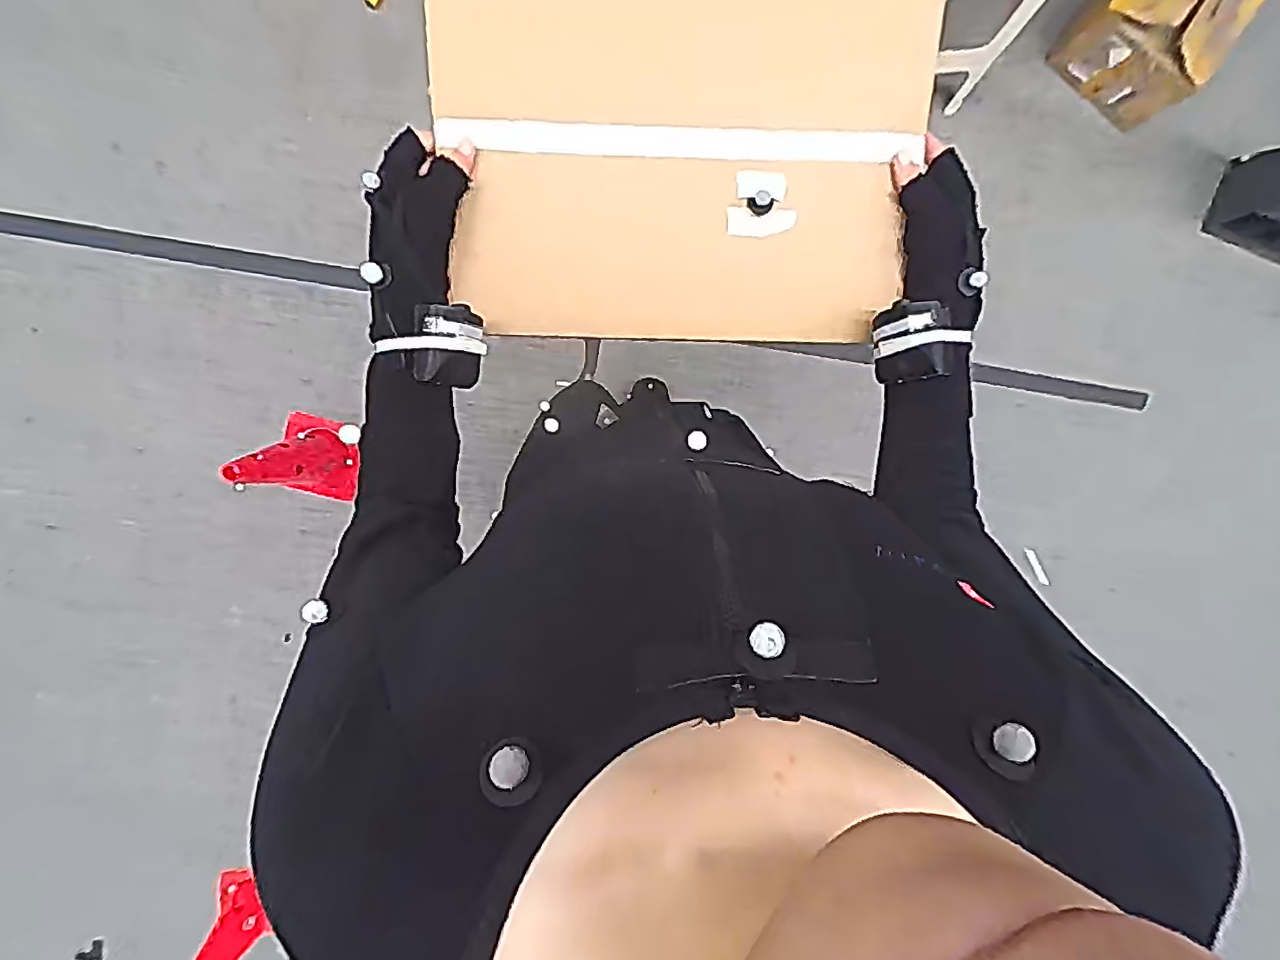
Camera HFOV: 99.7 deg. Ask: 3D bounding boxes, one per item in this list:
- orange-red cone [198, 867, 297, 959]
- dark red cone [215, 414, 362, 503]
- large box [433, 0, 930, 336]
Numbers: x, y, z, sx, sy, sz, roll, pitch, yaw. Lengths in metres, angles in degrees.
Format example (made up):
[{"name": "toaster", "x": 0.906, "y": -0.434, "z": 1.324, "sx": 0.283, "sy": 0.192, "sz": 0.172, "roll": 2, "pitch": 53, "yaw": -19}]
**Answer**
[{"name": "orange-red cone", "x": -1.073, "y": 1.227, "z": 1.377, "sx": 0.198, "sy": 0.360, "sz": 0.199, "roll": 6, "pitch": 98, "yaw": -4}, {"name": "dark red cone", "x": -0.804, "y": -0.035, "z": 1.211, "sx": 0.201, "sy": 0.394, "sz": 0.202, "roll": 14, "pitch": 96, "yaw": -7}, {"name": "large box", "x": 0.027, "y": -0.321, "z": 0.598, "sx": 0.408, "sy": 0.320, "sz": 0.320, "roll": 0, "pitch": 106, "yaw": -3}]
